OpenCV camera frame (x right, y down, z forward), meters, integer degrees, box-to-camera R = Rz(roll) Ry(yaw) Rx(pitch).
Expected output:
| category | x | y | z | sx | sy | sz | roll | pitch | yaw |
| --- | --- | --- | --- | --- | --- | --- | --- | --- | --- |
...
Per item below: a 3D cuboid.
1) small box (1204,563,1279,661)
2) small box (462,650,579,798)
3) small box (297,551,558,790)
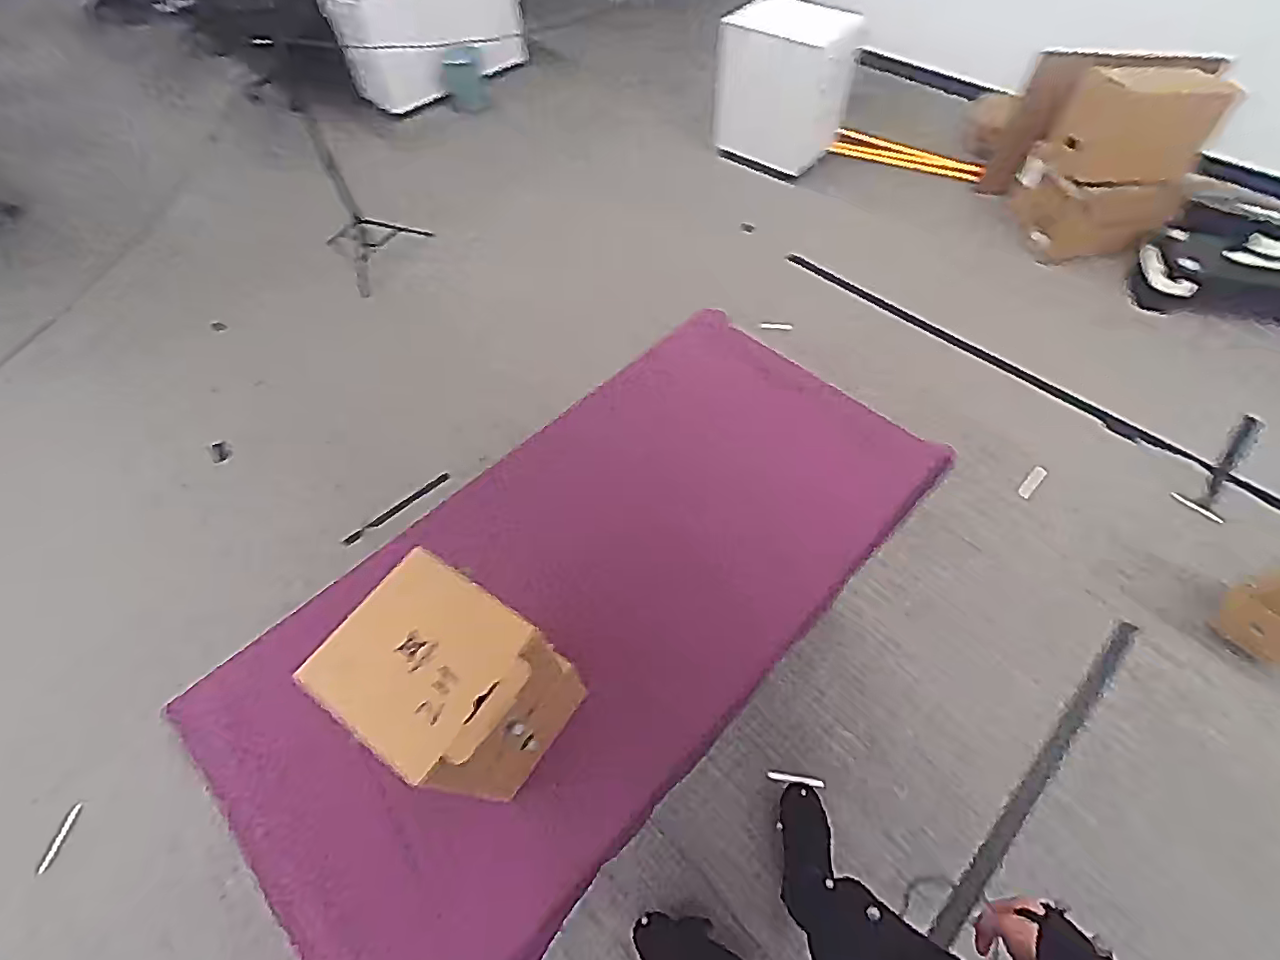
| category | x | y | z | sx | sy | sz | roll | pitch | yaw |
| --- | --- | --- | --- | --- | --- | --- | --- | --- | --- |
| small box | 1.720 | 0.365 | 1.477 | 0.179 | 0.176 | 0.168 | -36 | 63 | -19 |
| small box | -0.199 | 0.301 | 0.733 | 0.168 | 0.176 | 0.179 | 30 | 62 | 19 |
| small box | -0.215 | 0.215 | 0.593 | 0.179 | 0.176 | 0.168 | 29 | 63 | 19 |
